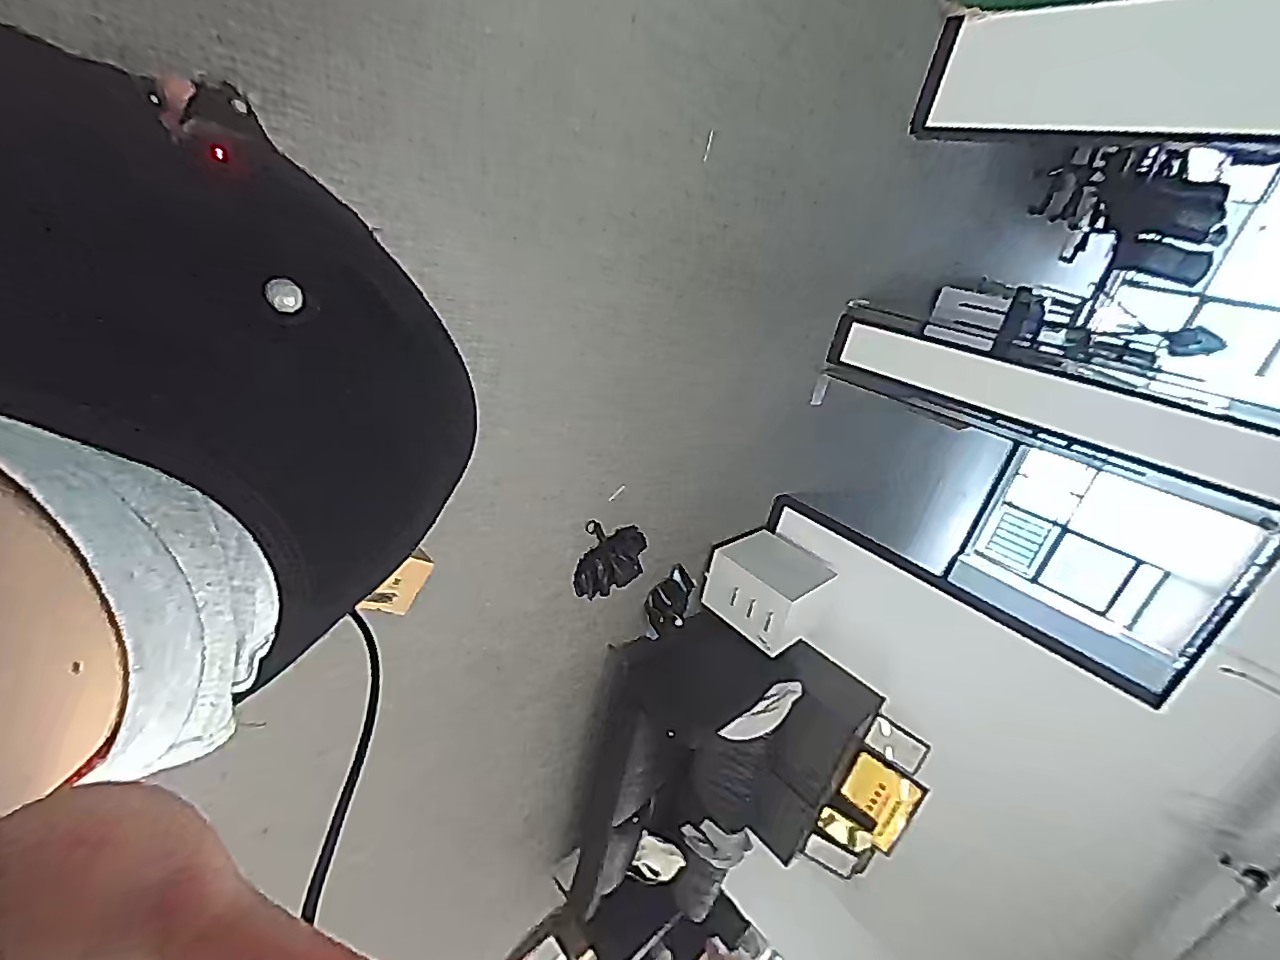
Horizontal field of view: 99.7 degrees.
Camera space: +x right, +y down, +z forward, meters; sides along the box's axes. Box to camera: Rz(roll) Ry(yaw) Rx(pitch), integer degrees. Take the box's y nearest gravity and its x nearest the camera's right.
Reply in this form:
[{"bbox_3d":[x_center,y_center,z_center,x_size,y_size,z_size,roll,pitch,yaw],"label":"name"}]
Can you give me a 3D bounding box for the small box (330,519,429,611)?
[{"bbox_3d":[-0.742,0.240,1.527,0.179,0.176,0.168,-58,144,-2],"label":"small box"}]
